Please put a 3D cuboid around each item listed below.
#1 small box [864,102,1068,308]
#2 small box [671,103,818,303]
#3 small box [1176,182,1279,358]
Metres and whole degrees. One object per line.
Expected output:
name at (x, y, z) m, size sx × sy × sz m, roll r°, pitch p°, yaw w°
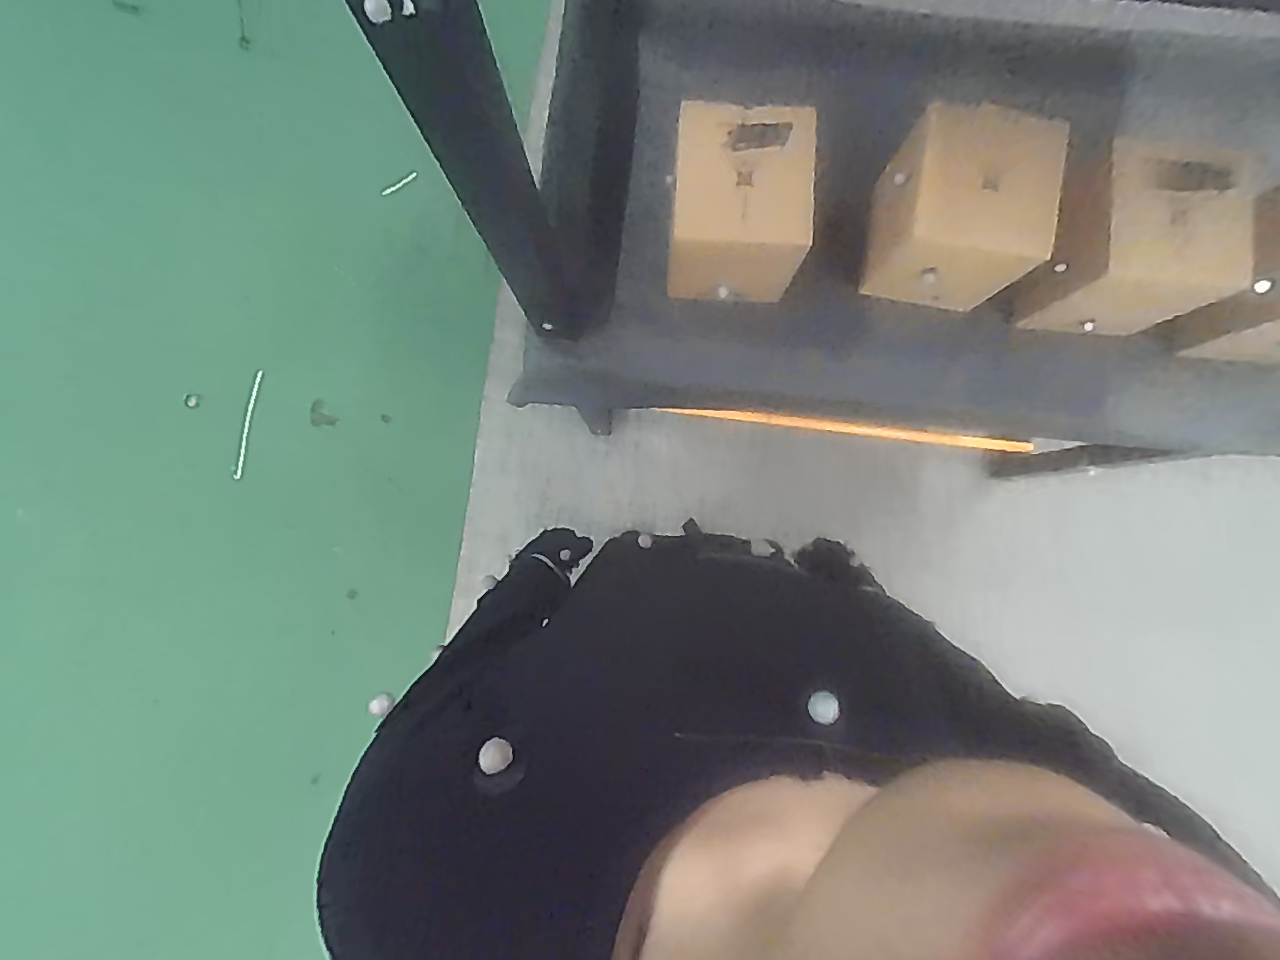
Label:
small box at (0.418, -0.352, 0.723) m, size 0.168 × 0.176 × 0.179 m, roll 10°, pitch 85°, yaw 2°
small box at (0.130, -0.359, 0.725) m, size 0.168 × 0.176 × 0.179 m, roll 3°, pitch 86°, yaw 1°
small box at (0.859, -0.269, 0.705) m, size 0.168 × 0.176 × 0.179 m, roll 5°, pitch 85°, yaw 1°
